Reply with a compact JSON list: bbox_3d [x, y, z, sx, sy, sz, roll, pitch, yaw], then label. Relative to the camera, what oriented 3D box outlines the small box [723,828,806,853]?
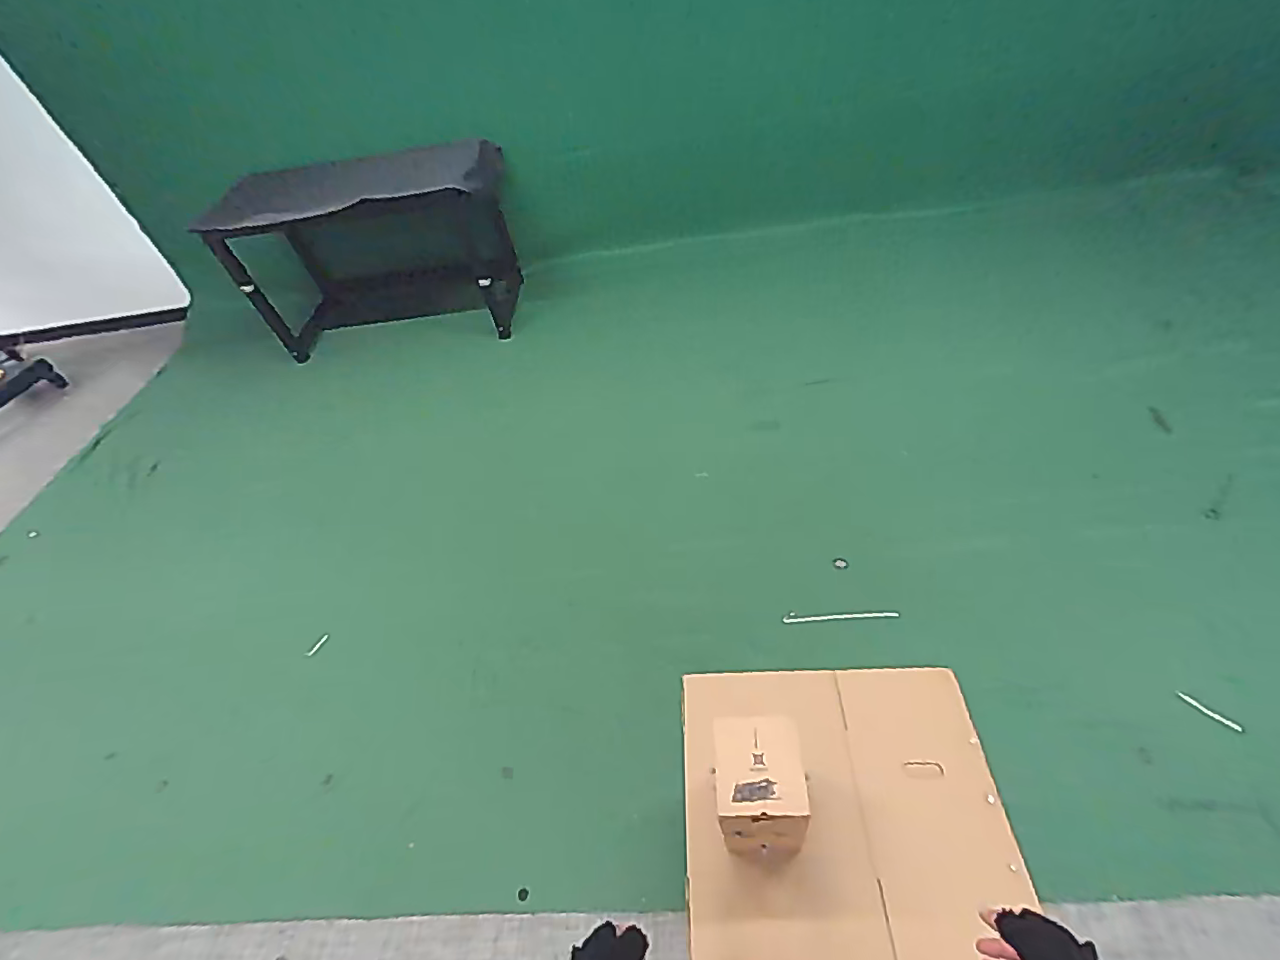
[{"bbox_3d":[0.262,0.702,1.187,0.168,0.176,0.179,-6,47,7],"label":"small box"}]

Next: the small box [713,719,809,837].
[{"bbox_3d":[0.235,0.591,1.069,0.168,0.176,0.179,-4,46,8],"label":"small box"}]
